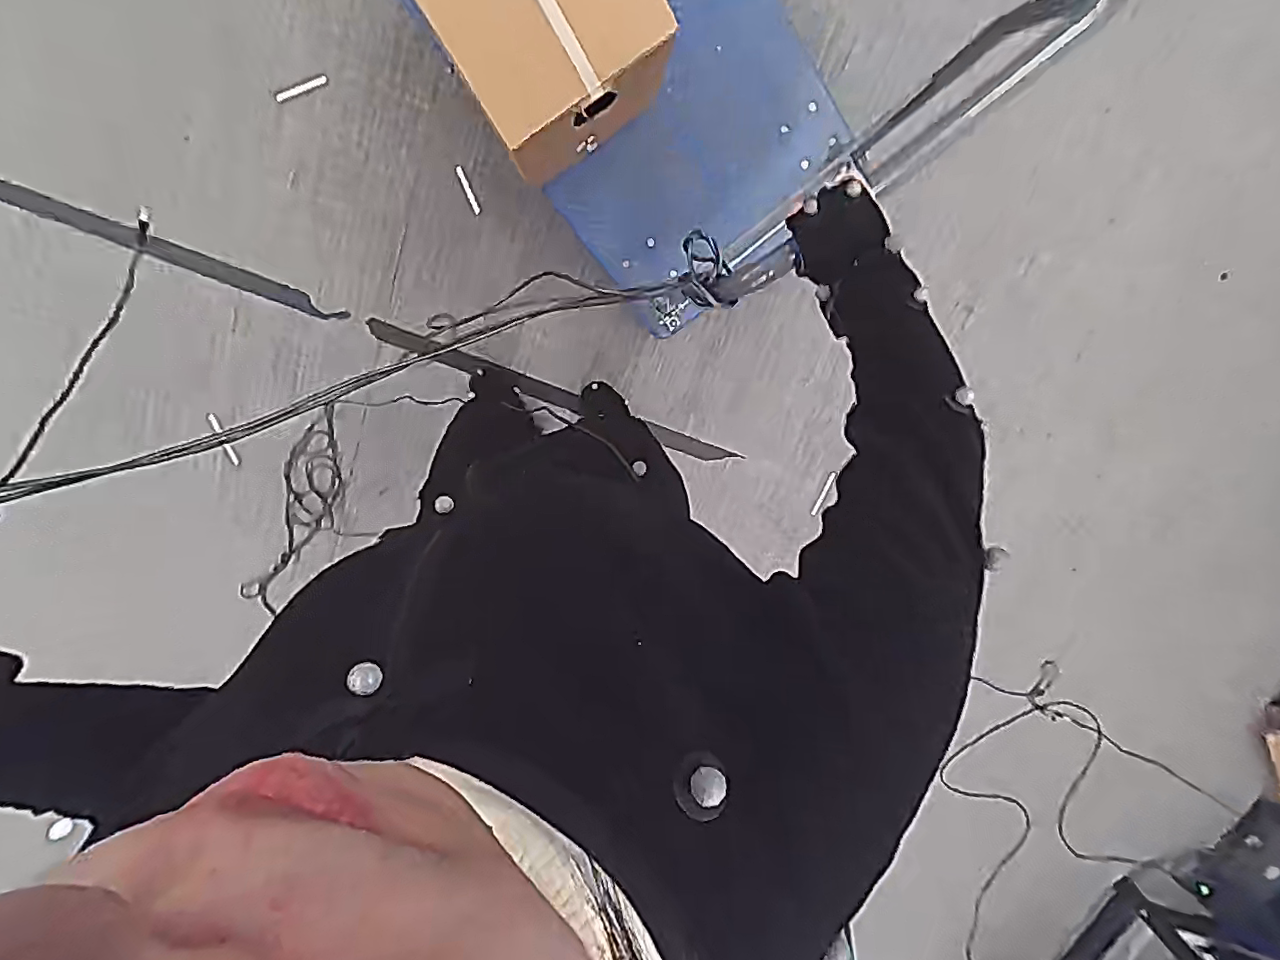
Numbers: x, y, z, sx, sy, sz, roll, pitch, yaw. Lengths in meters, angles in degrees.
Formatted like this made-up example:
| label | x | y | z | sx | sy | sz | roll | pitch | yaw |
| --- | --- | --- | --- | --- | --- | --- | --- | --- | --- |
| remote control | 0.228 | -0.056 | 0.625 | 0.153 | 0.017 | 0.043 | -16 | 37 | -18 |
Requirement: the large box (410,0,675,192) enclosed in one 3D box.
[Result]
| label | x | y | z | sx | sy | sz | roll | pitch | yaw |
| --- | --- | --- | --- | --- | --- | --- | --- | --- | --- |
| large box | -0.187 | -0.783 | 0.905 | 0.320 | 0.320 | 0.408 | -32 | 106 | 5 |
